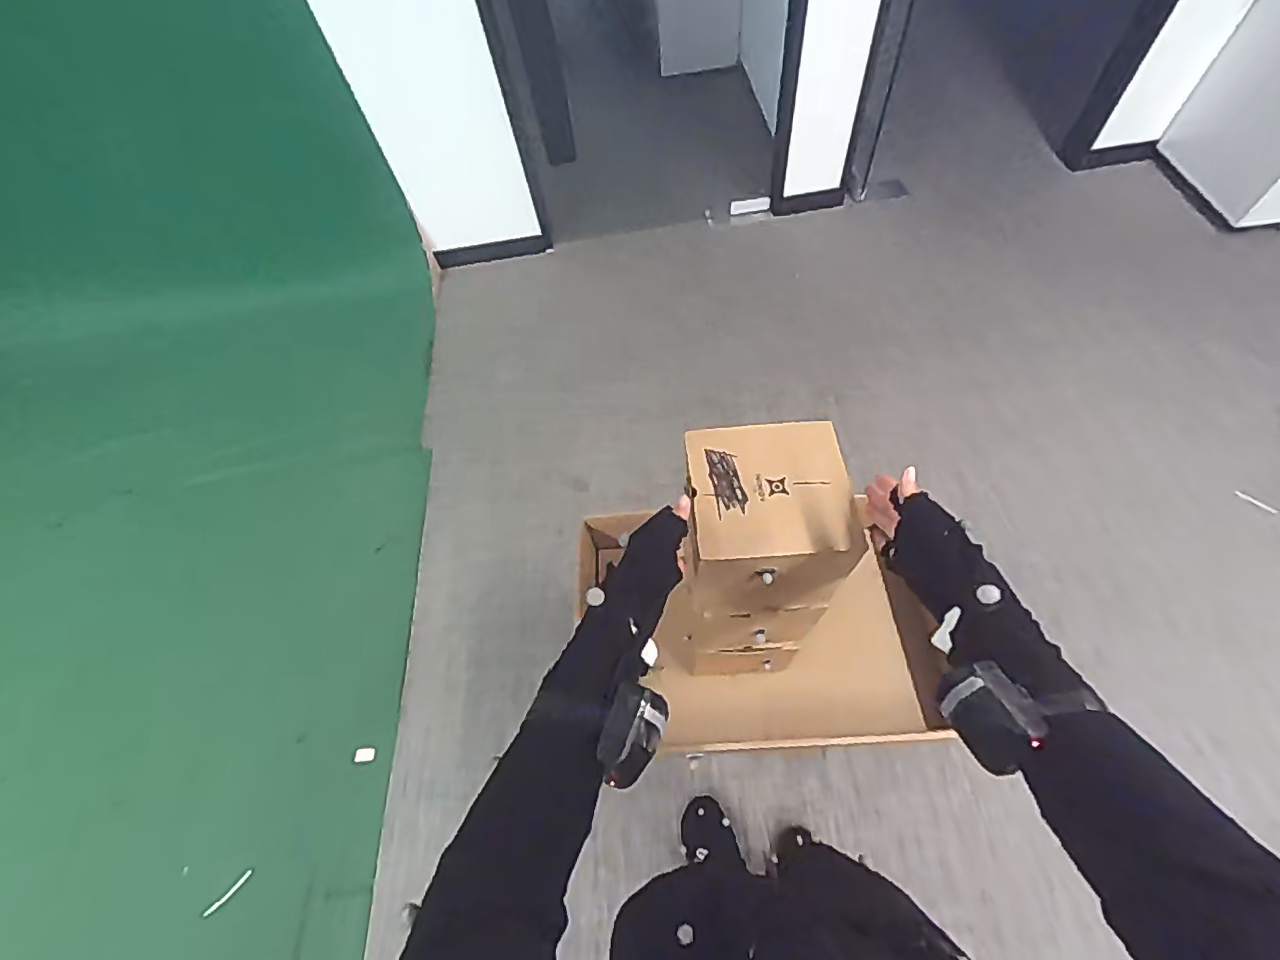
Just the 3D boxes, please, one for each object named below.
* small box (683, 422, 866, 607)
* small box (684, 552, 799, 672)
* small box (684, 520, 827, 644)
[{"bbox_3d":[0.145,0.049,0.656,0.179,0.176,0.168,-4,59,0],"label":"small box"},{"bbox_3d":[0.164,0.226,0.933,0.168,0.176,0.179,-4,57,1],"label":"small box"},{"bbox_3d":[0.157,0.136,0.797,0.168,0.176,0.179,-6,60,0],"label":"small box"}]
